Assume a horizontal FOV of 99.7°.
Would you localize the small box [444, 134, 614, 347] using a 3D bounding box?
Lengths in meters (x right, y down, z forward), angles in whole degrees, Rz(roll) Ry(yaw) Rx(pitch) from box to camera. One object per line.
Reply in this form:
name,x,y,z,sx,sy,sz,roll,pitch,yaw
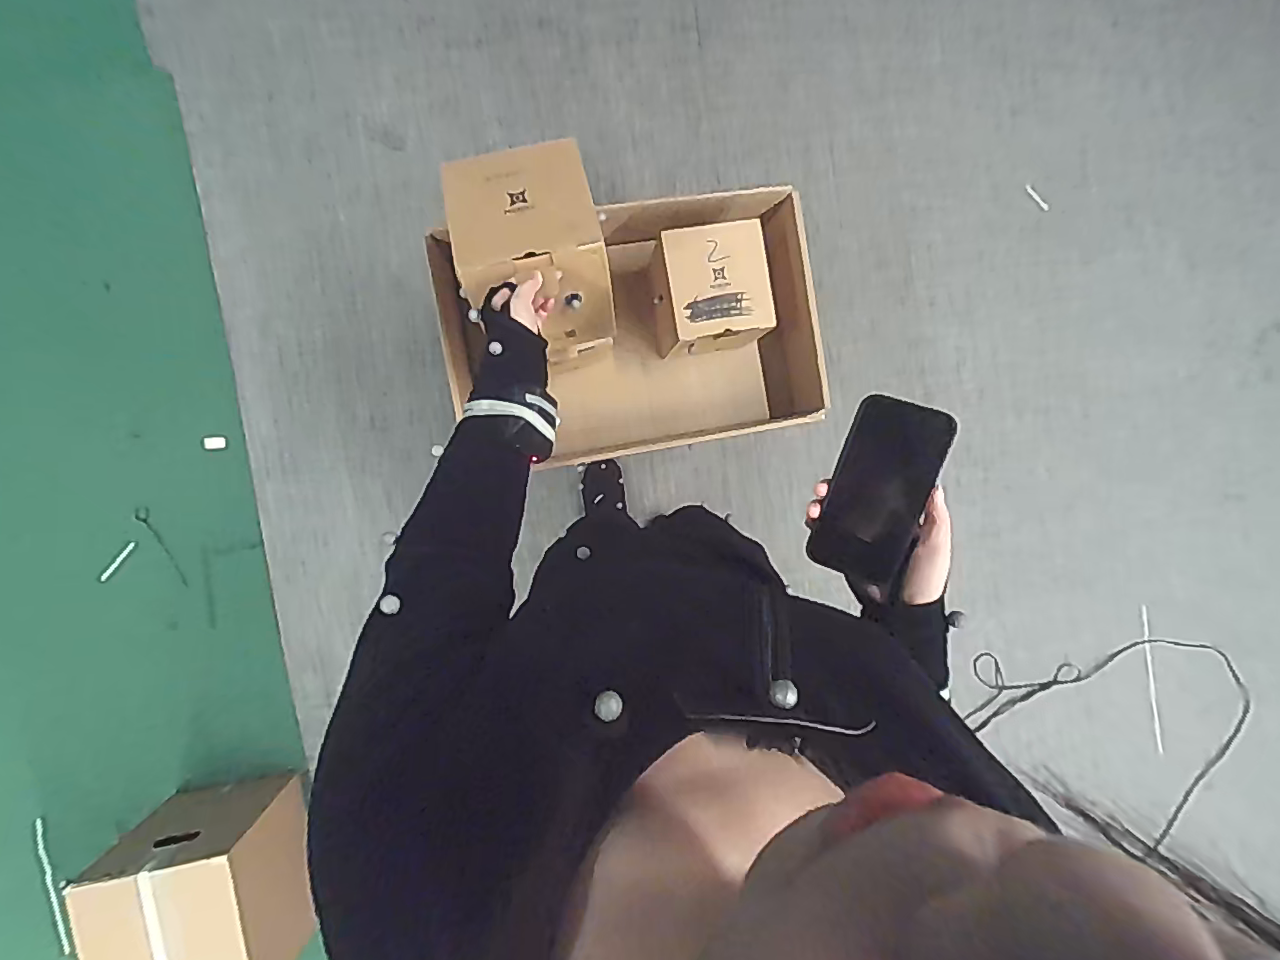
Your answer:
small box,-0.132,-0.290,0.687,0.168,0.176,0.179,-13,68,-3
